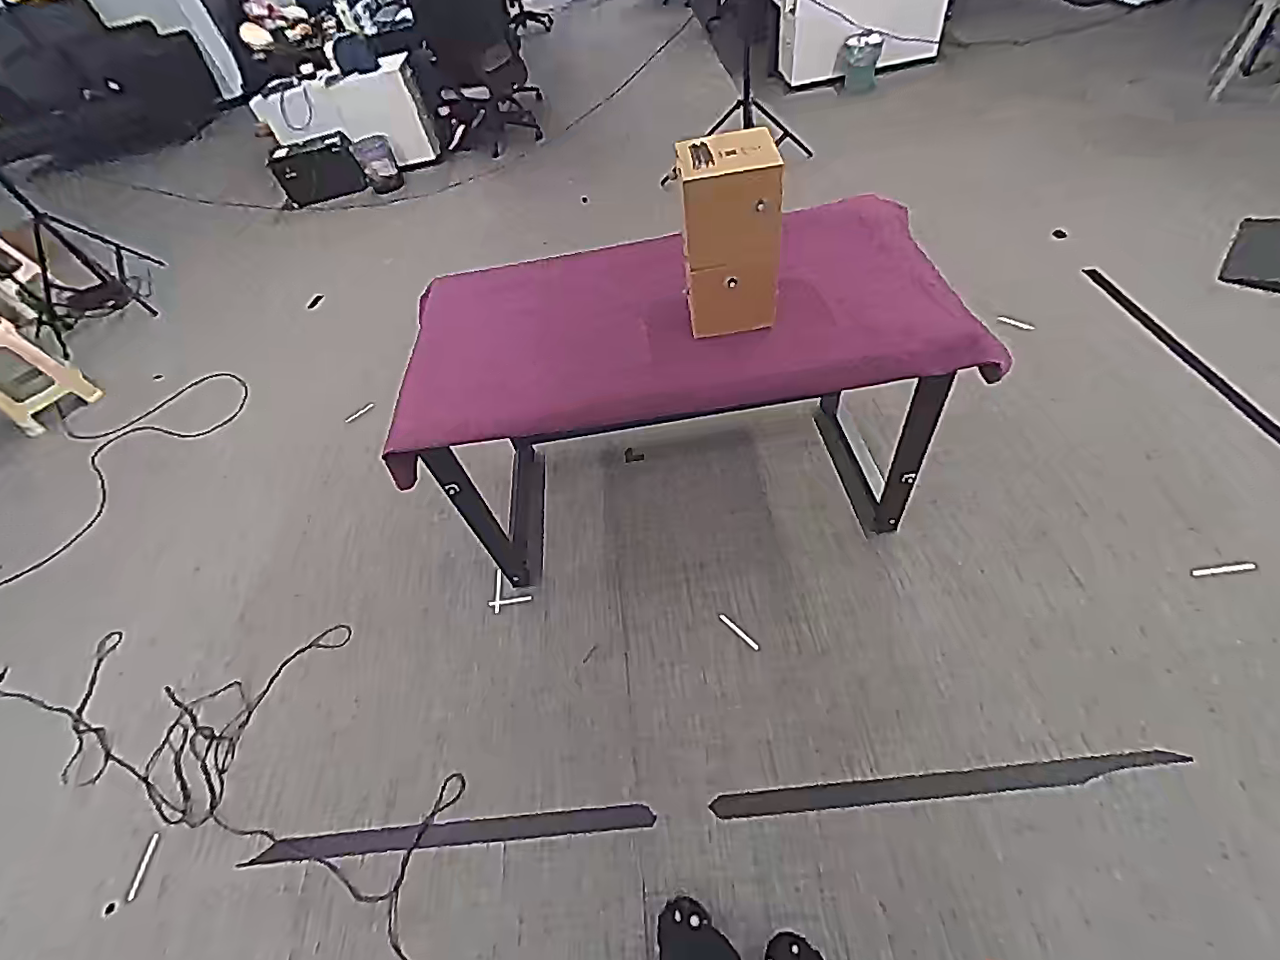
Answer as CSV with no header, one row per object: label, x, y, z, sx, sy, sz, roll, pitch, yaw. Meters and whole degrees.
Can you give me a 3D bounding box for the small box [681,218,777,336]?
small box,0.189,-0.428,1.155,0.179,0.176,0.168,-7,52,5
